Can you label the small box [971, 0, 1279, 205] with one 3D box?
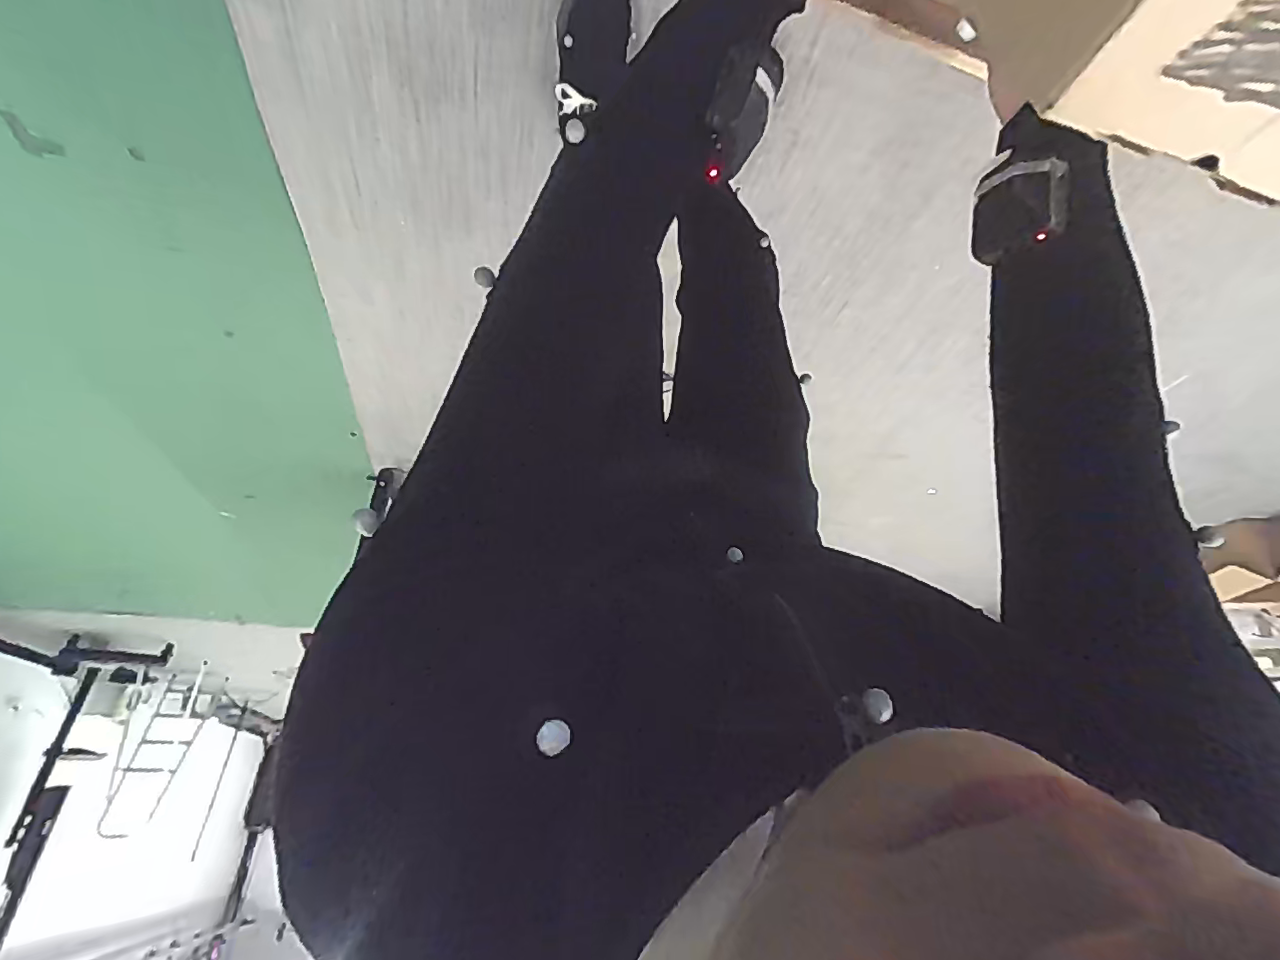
[{"bbox_3d":[0.250,-0.245,0.198,0.168,0.176,0.179,8,147,-15],"label":"small box"}]
